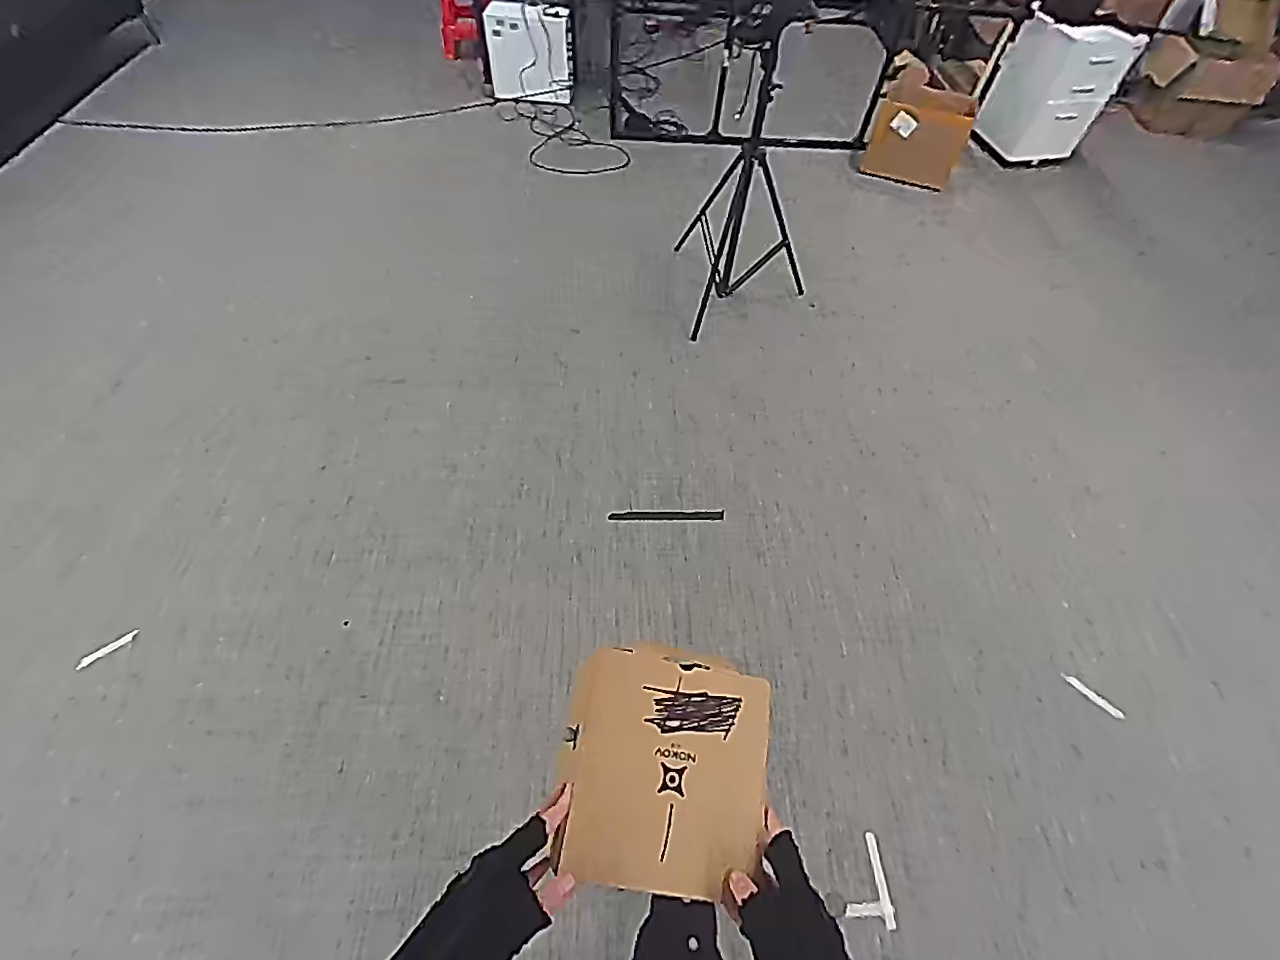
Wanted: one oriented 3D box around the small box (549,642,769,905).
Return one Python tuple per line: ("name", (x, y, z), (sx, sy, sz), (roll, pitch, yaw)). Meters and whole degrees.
("small box", (0.012, 0.275, 0.522), (0.168, 0.176, 0.179), (13, 60, -7))
